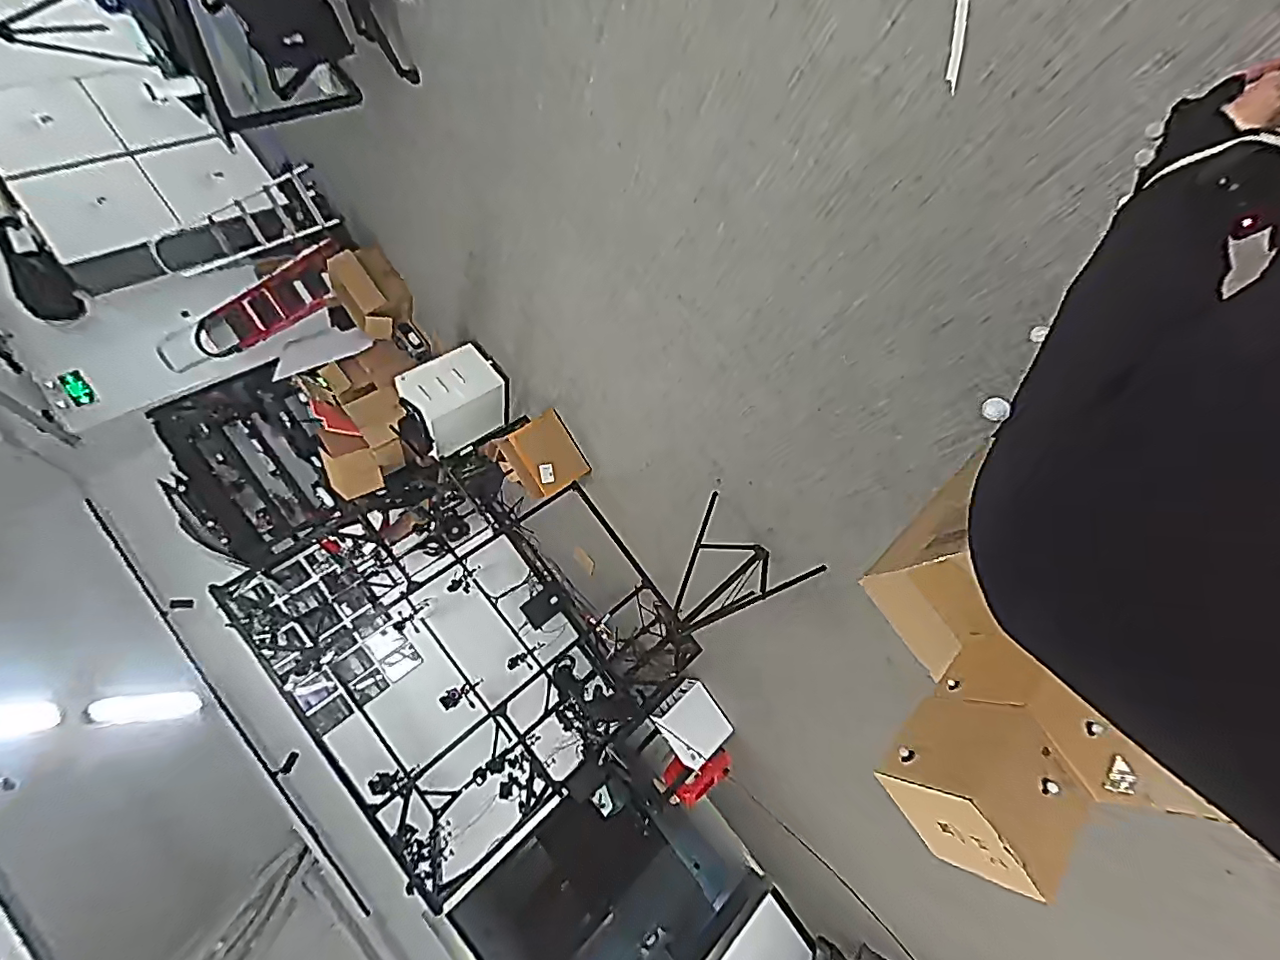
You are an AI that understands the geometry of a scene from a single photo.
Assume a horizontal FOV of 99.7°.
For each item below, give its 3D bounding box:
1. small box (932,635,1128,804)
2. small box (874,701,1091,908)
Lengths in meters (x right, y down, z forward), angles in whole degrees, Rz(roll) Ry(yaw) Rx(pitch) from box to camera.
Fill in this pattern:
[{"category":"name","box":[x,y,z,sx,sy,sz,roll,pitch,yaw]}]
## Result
[{"category":"small box","box":[0.614,0.360,0.850,0.168,0.176,0.179,53,154,2]},{"category":"small box","box":[0.491,0.447,0.782,0.168,0.176,0.179,53,153,0]}]
